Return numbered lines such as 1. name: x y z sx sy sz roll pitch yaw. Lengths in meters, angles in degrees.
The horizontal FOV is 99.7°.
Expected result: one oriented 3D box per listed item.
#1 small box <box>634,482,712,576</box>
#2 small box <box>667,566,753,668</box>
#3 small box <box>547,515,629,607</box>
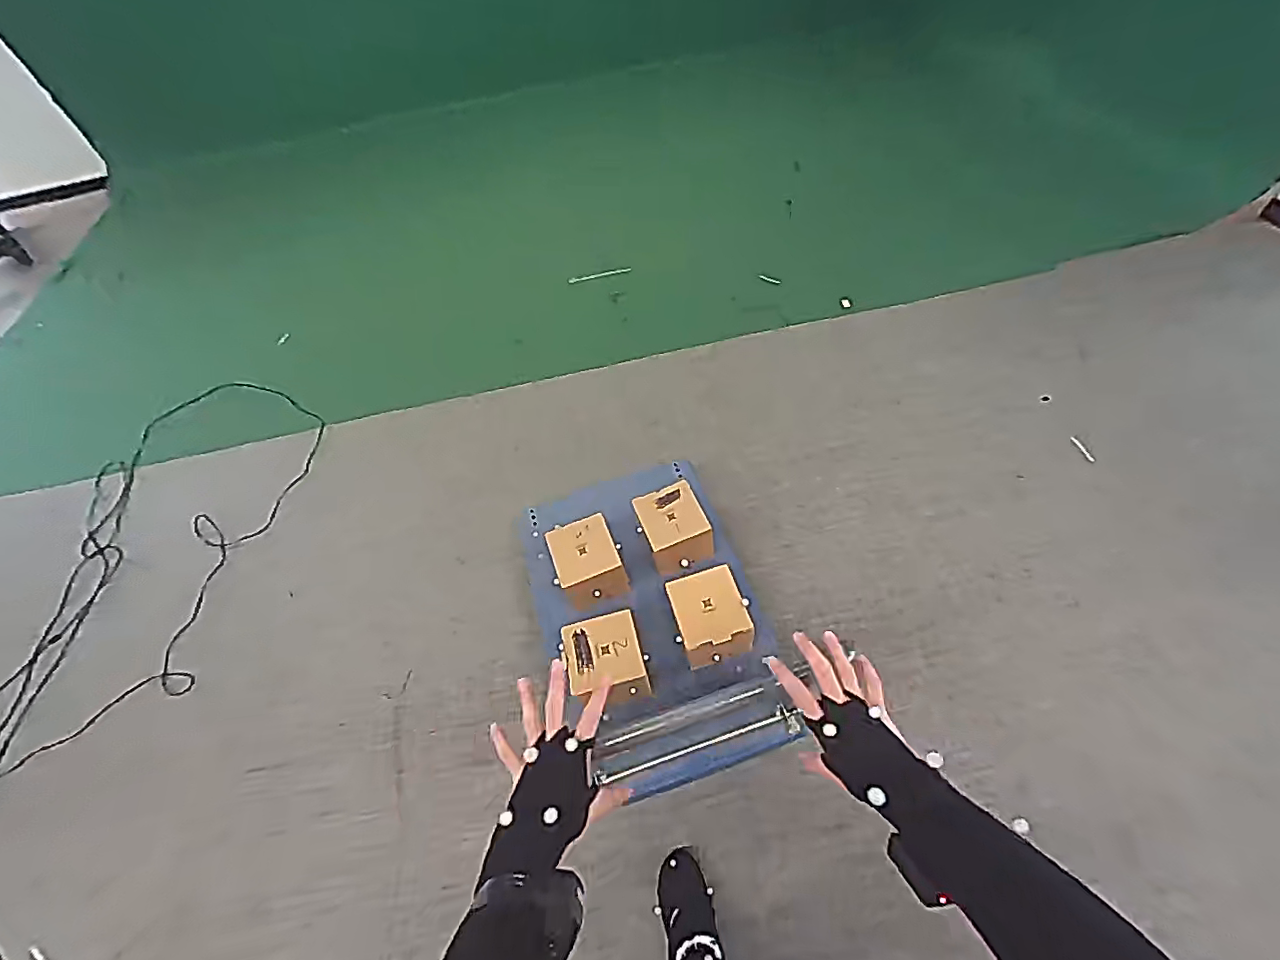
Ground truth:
1. small box: 0.094 0.142 1.528 0.168 0.176 0.179 -21 56 -6
2. small box: 0.174 0.350 1.374 0.168 0.176 0.179 -17 55 -4
3. small box: -0.139 0.233 1.499 0.168 0.176 0.179 -20 55 -7
